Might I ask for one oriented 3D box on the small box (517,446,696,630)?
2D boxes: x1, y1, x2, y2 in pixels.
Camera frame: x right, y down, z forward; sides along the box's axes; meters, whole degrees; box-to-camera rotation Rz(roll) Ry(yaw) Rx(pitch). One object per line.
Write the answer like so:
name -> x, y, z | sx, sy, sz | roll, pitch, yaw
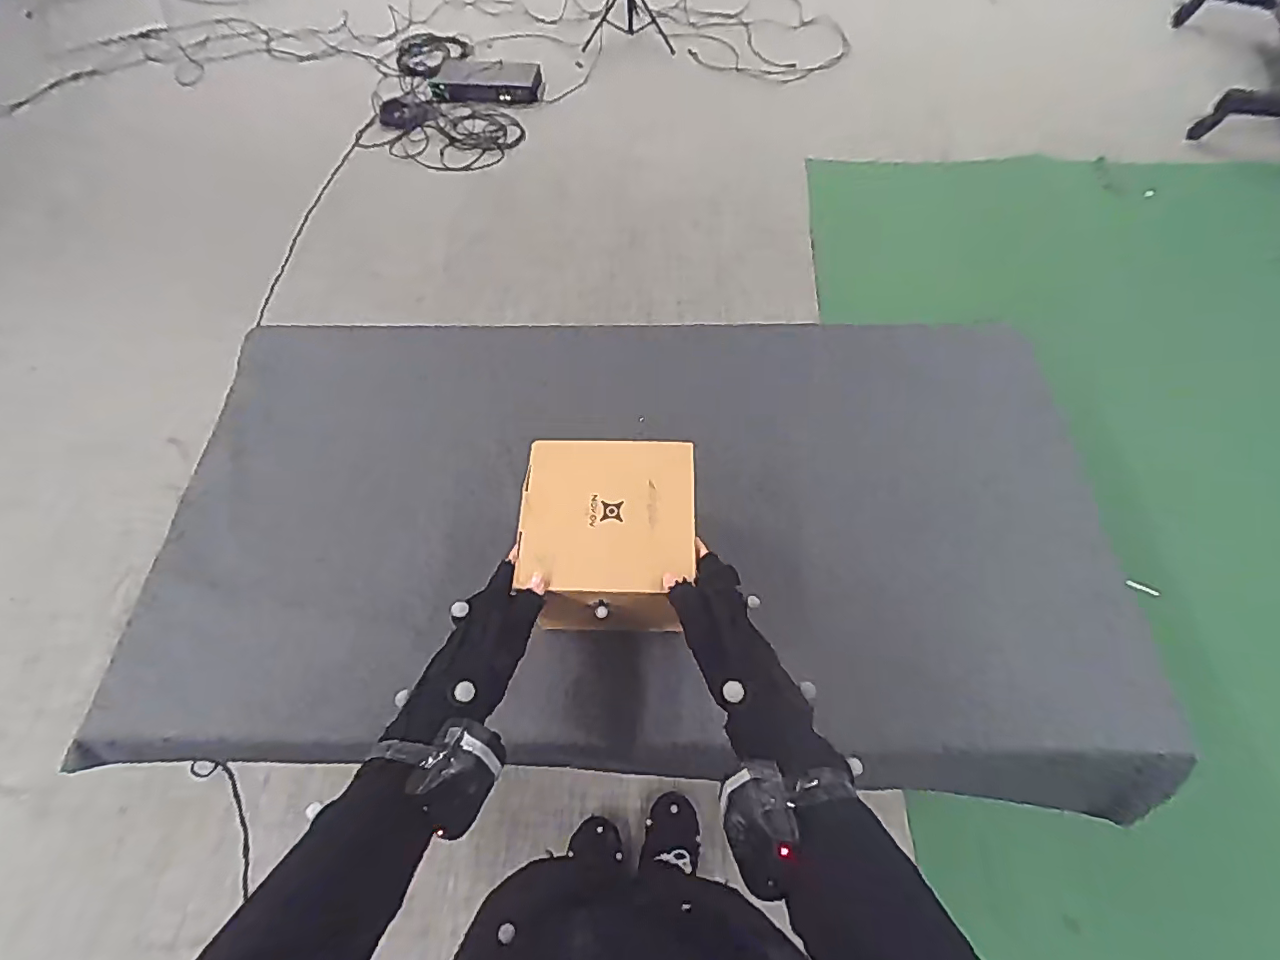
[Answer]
small box -> -0.030, 0.073, 0.623 | 0.179, 0.176, 0.168 | 0, 63, 0
